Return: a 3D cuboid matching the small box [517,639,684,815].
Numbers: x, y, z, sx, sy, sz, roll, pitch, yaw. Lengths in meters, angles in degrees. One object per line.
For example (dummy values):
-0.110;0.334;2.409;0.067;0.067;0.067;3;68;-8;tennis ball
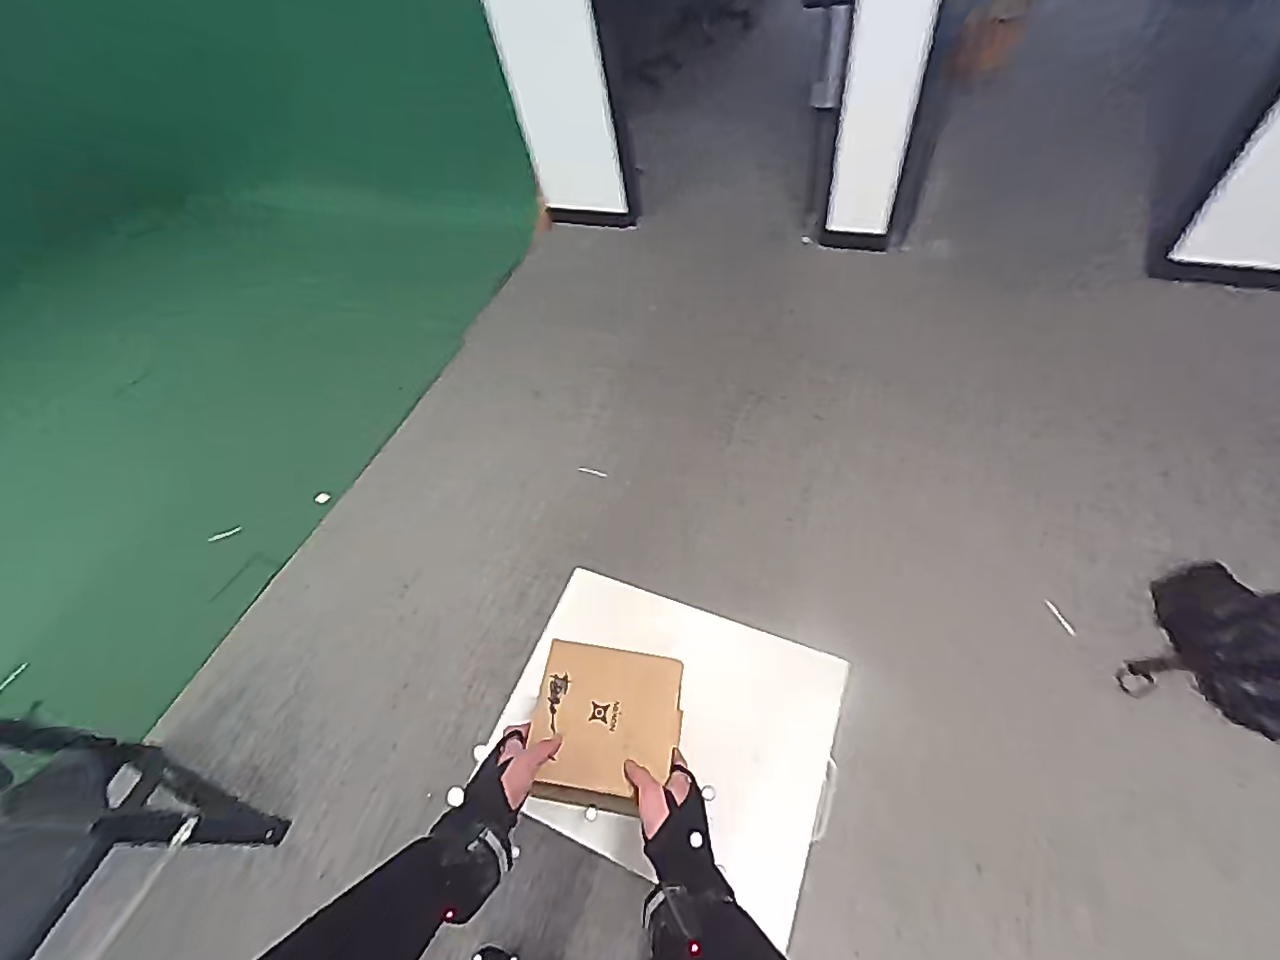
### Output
-0.049;0.329;0.708;0.179;0.176;0.168;9;53;0;small box
